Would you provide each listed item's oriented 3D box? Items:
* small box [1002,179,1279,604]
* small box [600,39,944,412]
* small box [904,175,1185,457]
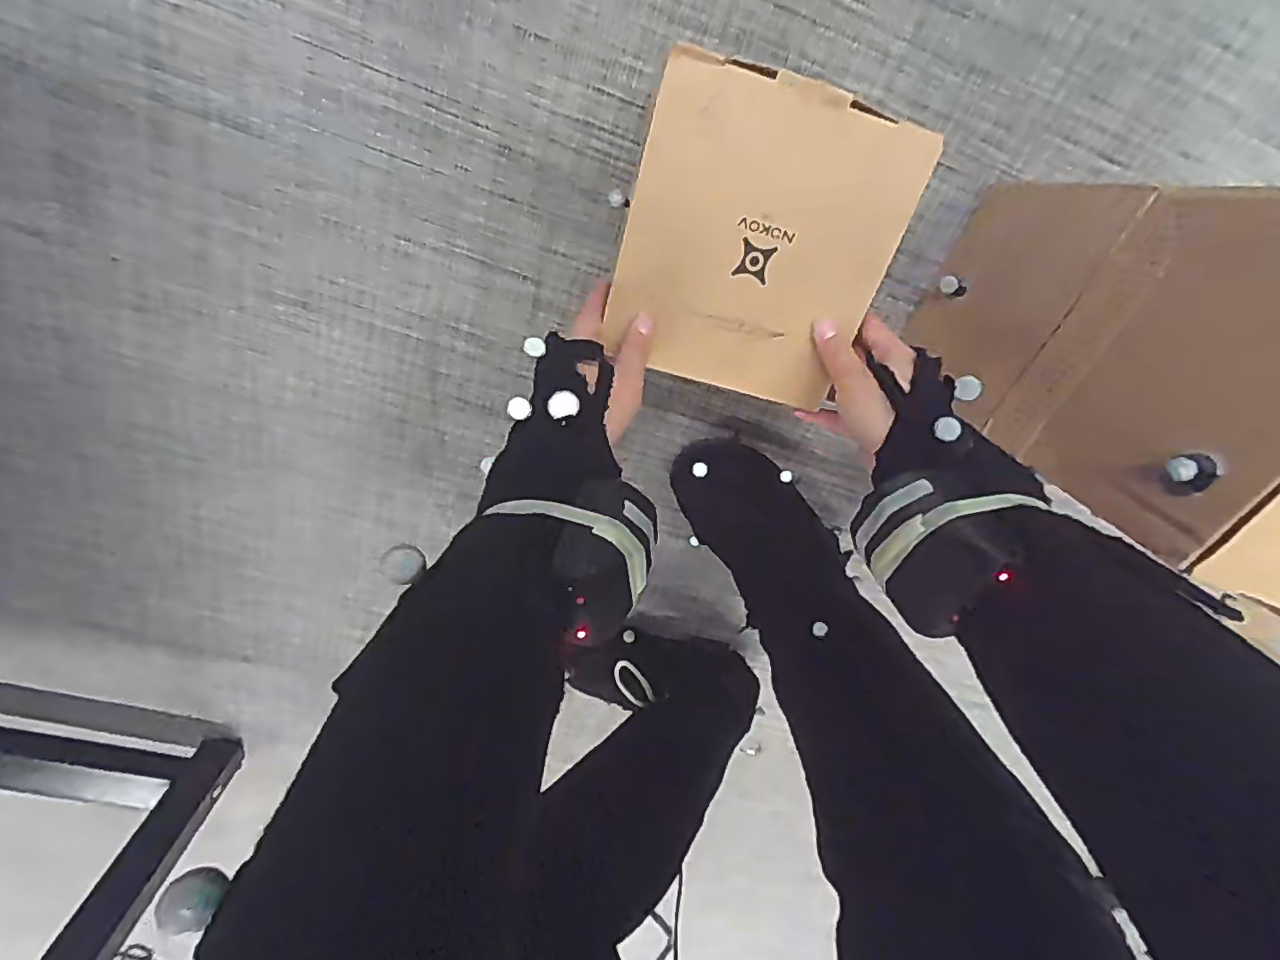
[{"bbox_3d":[0.353,-0.043,0.291,0.168,0.176,0.179,19,117,-12],"label":"small box"},{"bbox_3d":[0.070,-0.176,0.399,0.168,0.176,0.179,12,118,-8],"label":"small box"},{"bbox_3d":[0.347,-0.121,0.435,0.168,0.176,0.179,17,119,-11],"label":"small box"}]
